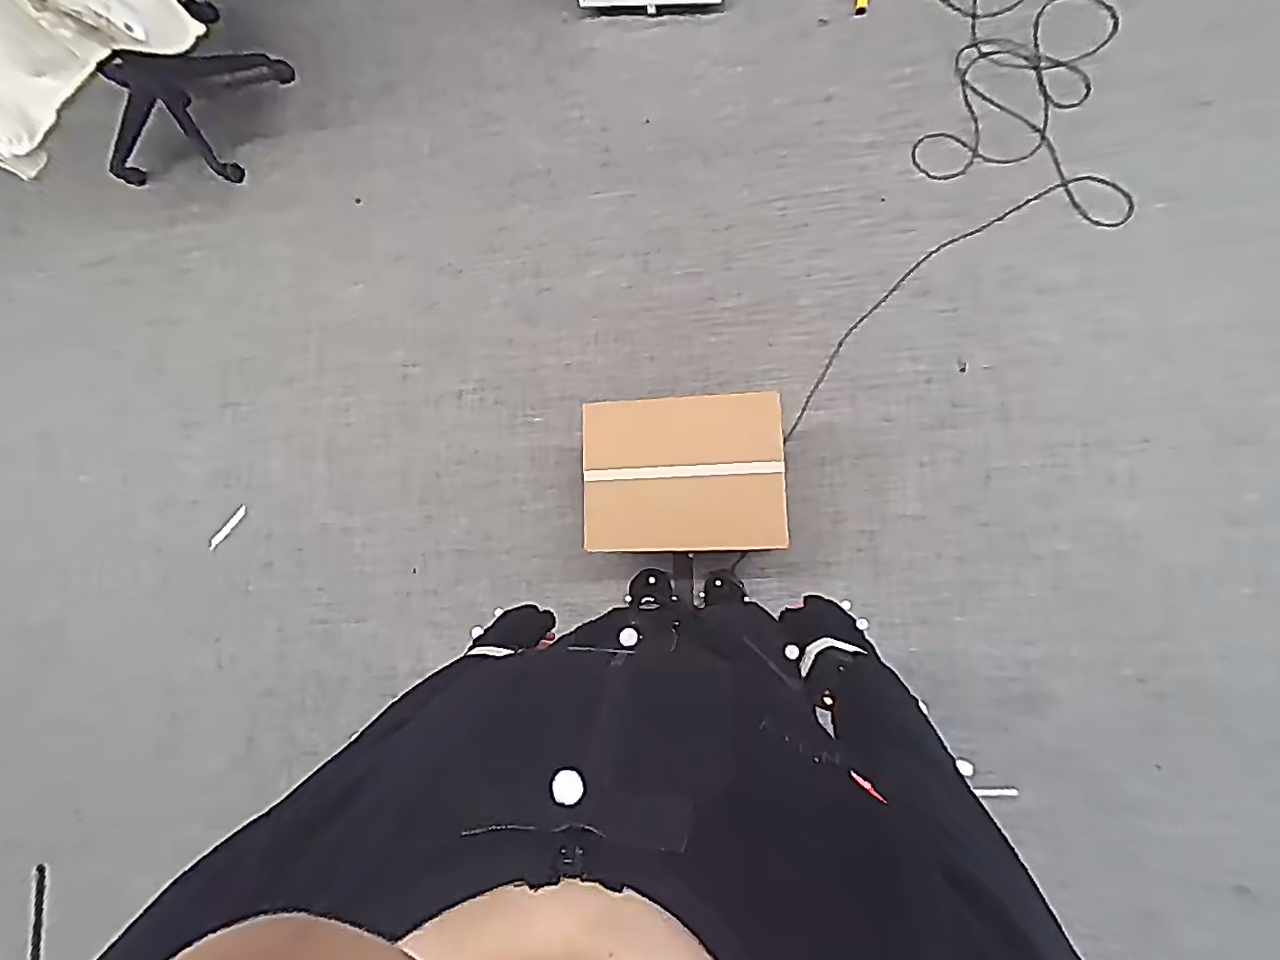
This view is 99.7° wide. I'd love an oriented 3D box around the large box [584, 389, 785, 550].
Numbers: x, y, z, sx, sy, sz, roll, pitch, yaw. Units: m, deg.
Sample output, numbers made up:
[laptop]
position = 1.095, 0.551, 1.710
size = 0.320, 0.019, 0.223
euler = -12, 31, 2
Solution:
[large box]
position = 0.104, -0.004, 1.241
size = 0.408, 0.320, 0.320
euler = -2, 84, 9
